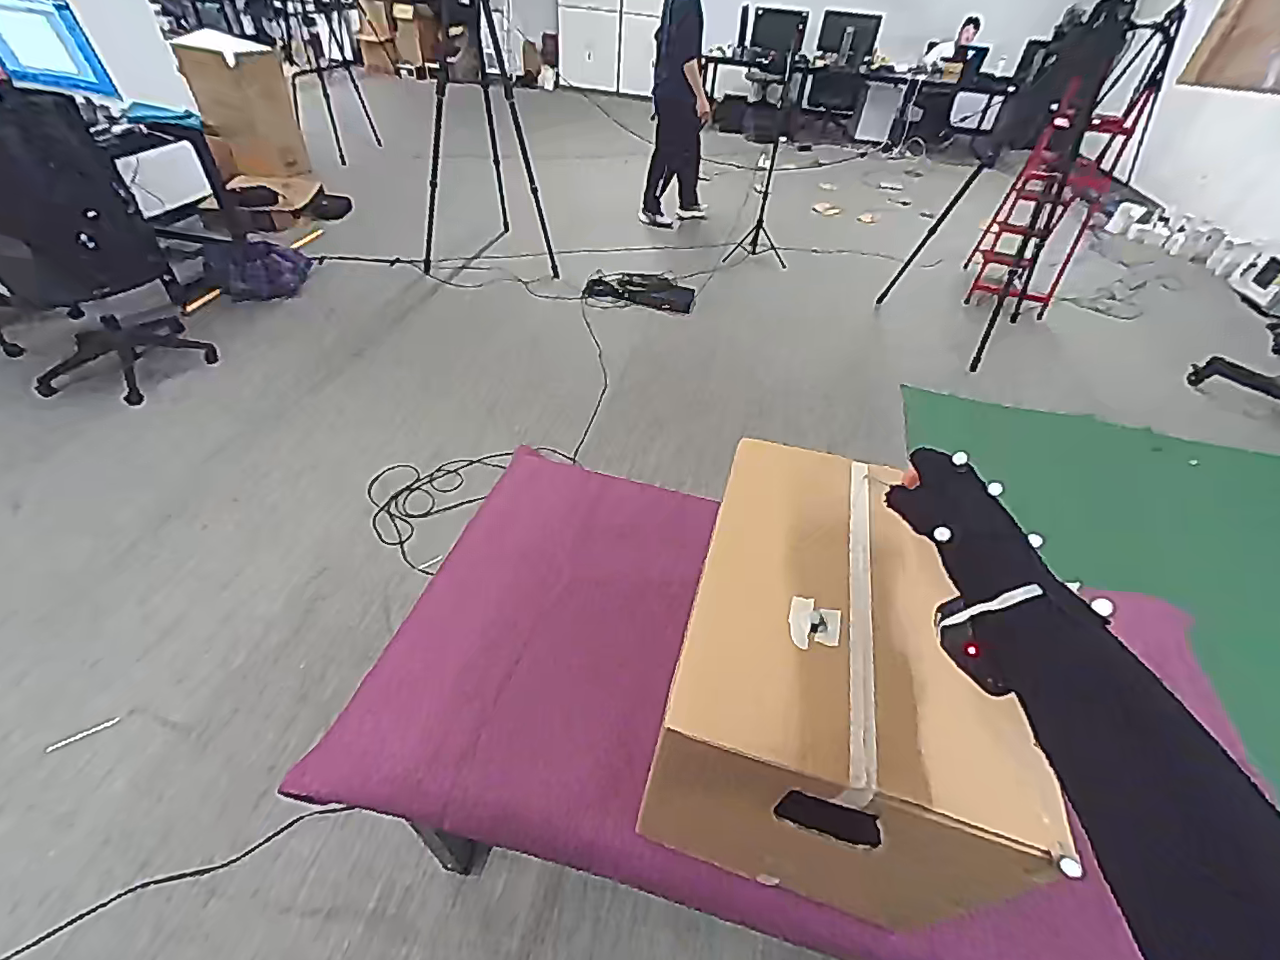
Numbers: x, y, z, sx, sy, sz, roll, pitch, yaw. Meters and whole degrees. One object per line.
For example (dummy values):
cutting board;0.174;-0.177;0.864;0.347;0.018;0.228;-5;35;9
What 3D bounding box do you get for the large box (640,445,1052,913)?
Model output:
large box;0.209;0.224;0.674;0.320;0.320;0.408;14;45;9
